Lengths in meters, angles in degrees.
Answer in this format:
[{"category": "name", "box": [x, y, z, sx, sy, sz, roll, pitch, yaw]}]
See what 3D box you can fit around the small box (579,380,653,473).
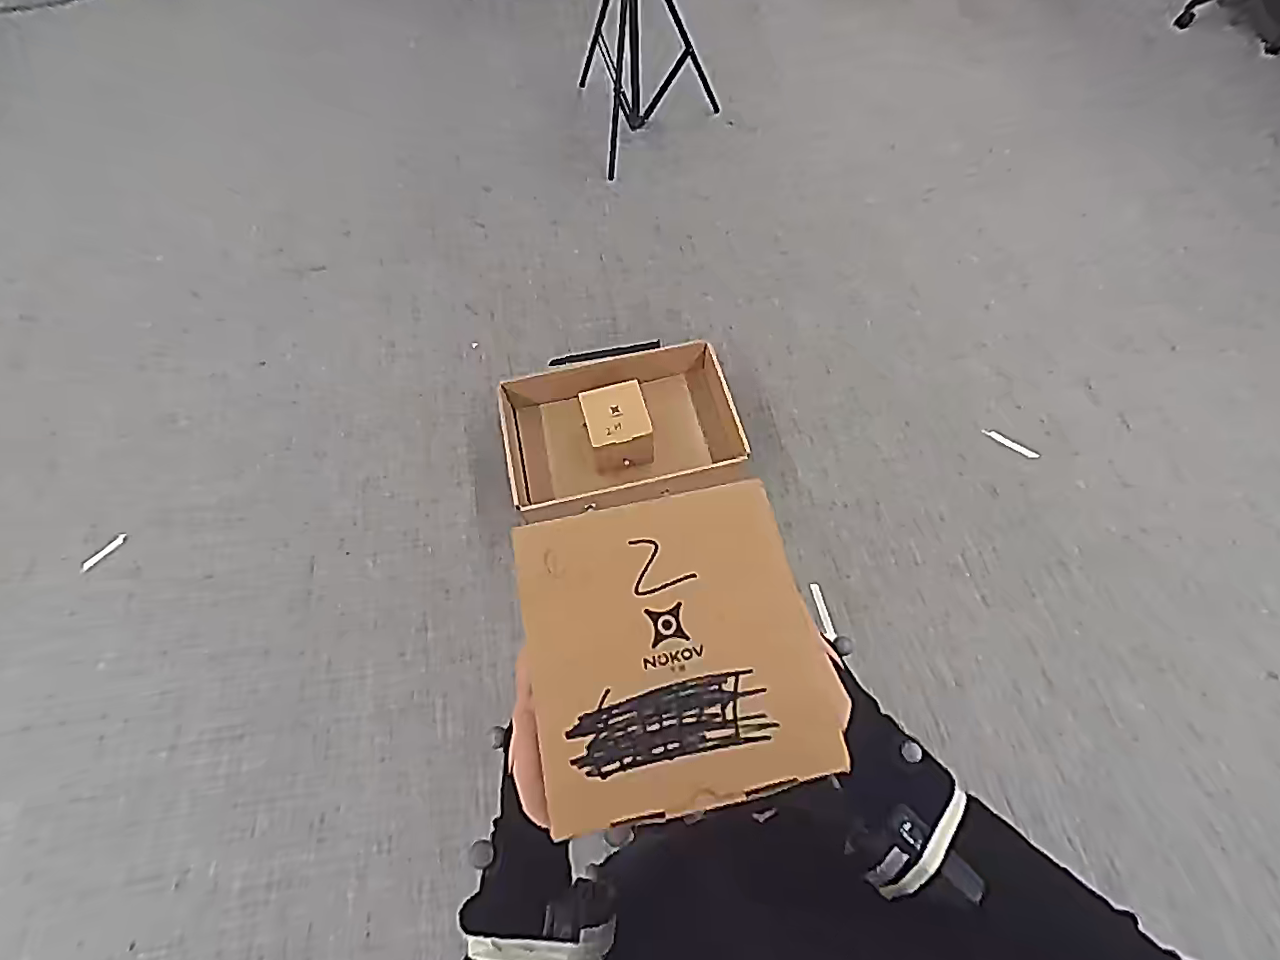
[{"category": "small box", "box": [-0.065, -0.144, 1.495, 0.168, 0.176, 0.179, -14, 66, -5]}]
